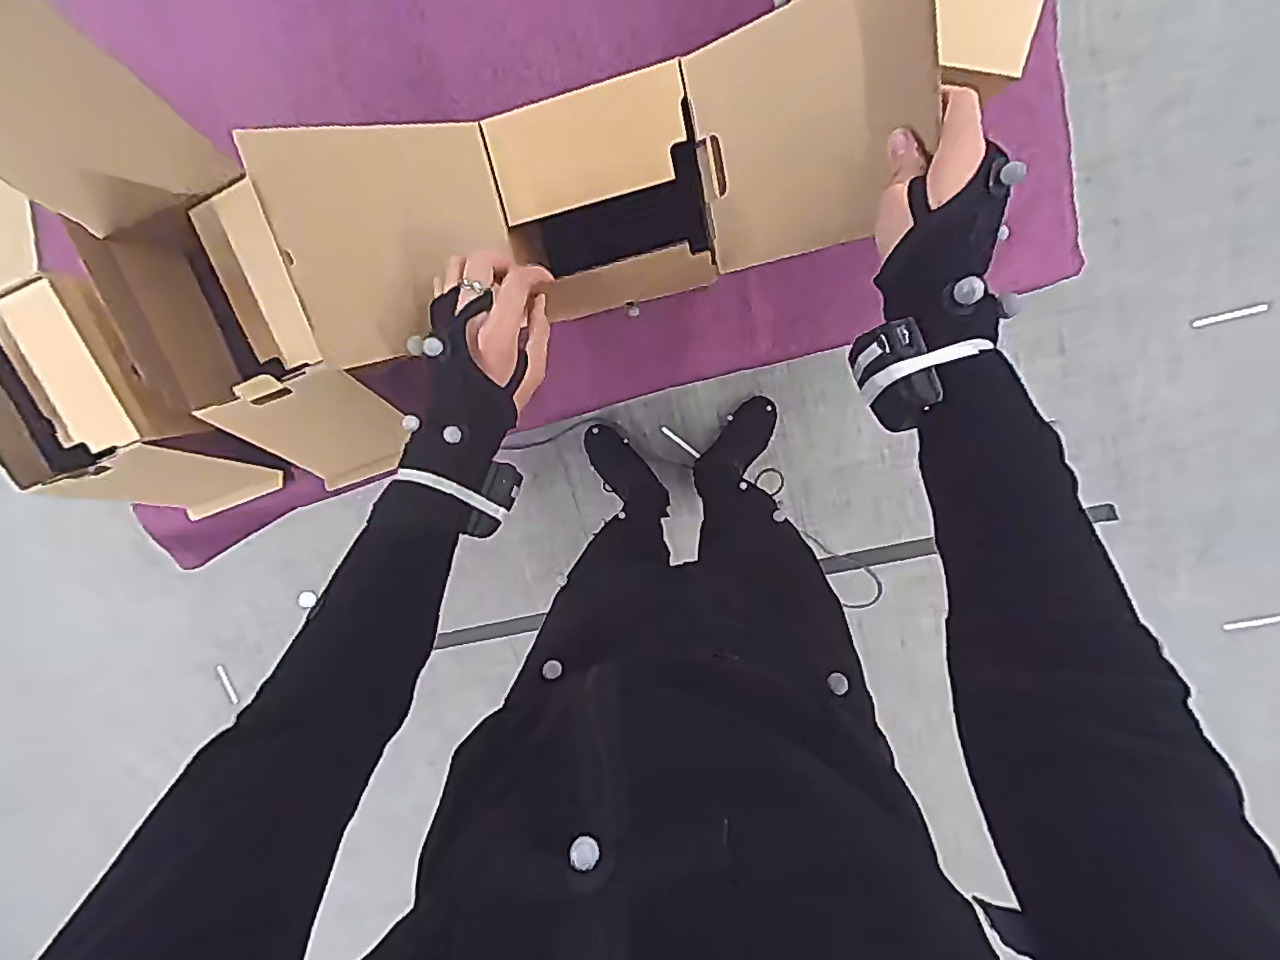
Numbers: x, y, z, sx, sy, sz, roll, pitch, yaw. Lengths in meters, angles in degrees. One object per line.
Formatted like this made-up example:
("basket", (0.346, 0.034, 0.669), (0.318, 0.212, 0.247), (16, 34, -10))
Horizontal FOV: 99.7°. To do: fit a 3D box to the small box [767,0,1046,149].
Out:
("small box", (0.223, -0.412, 0.468), (0.179, 0.176, 0.168), (12, 105, 2))
